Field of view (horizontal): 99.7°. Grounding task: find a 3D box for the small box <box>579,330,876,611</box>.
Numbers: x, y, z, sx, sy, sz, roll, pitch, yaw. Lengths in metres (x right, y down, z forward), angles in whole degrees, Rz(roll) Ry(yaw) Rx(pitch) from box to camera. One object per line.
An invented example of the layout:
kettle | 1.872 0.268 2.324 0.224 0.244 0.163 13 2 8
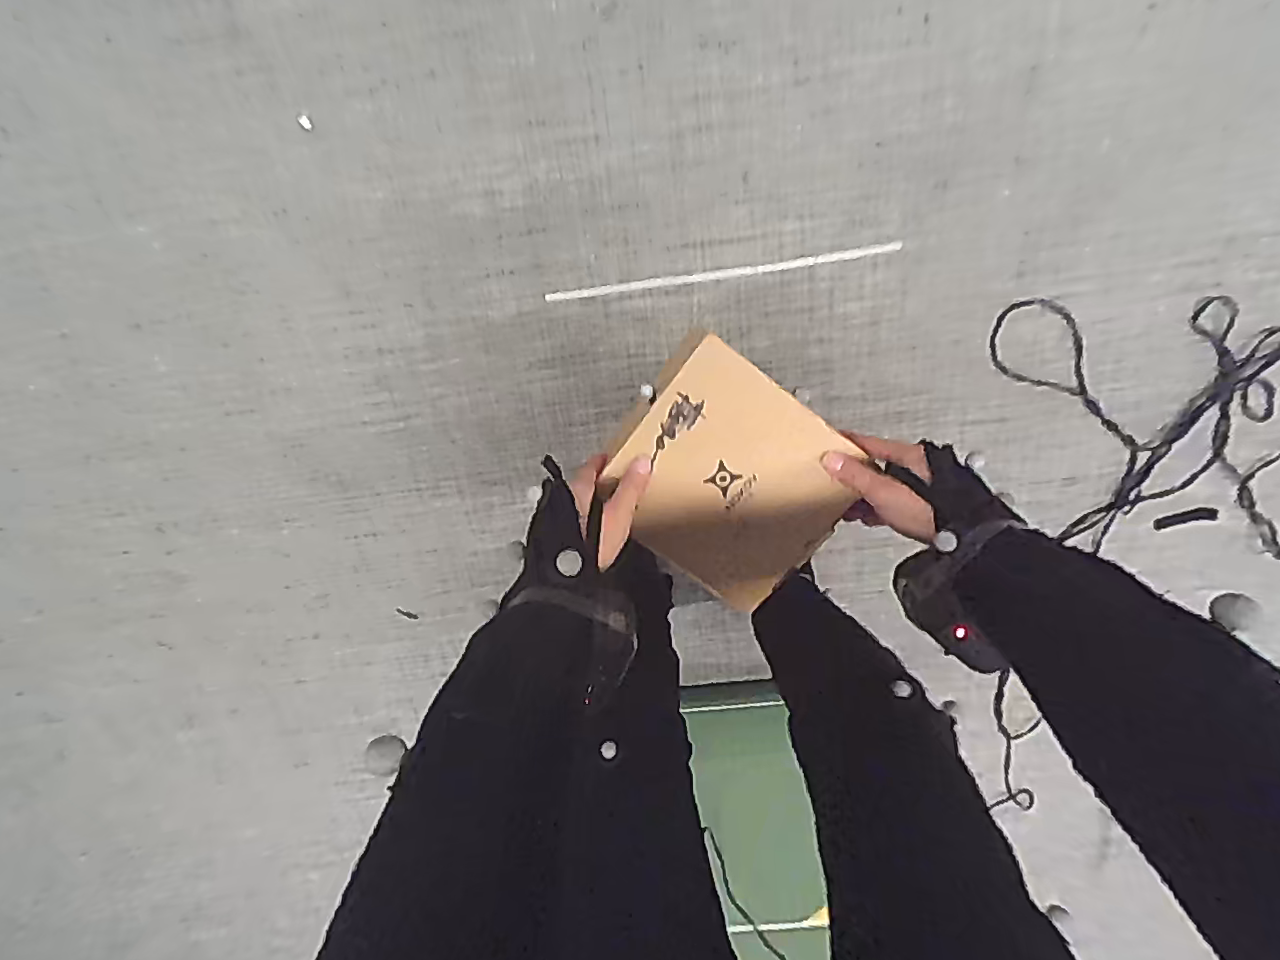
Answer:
small box | 0.069 -0.022 0.497 0.179 0.176 0.168 36 106 -10
